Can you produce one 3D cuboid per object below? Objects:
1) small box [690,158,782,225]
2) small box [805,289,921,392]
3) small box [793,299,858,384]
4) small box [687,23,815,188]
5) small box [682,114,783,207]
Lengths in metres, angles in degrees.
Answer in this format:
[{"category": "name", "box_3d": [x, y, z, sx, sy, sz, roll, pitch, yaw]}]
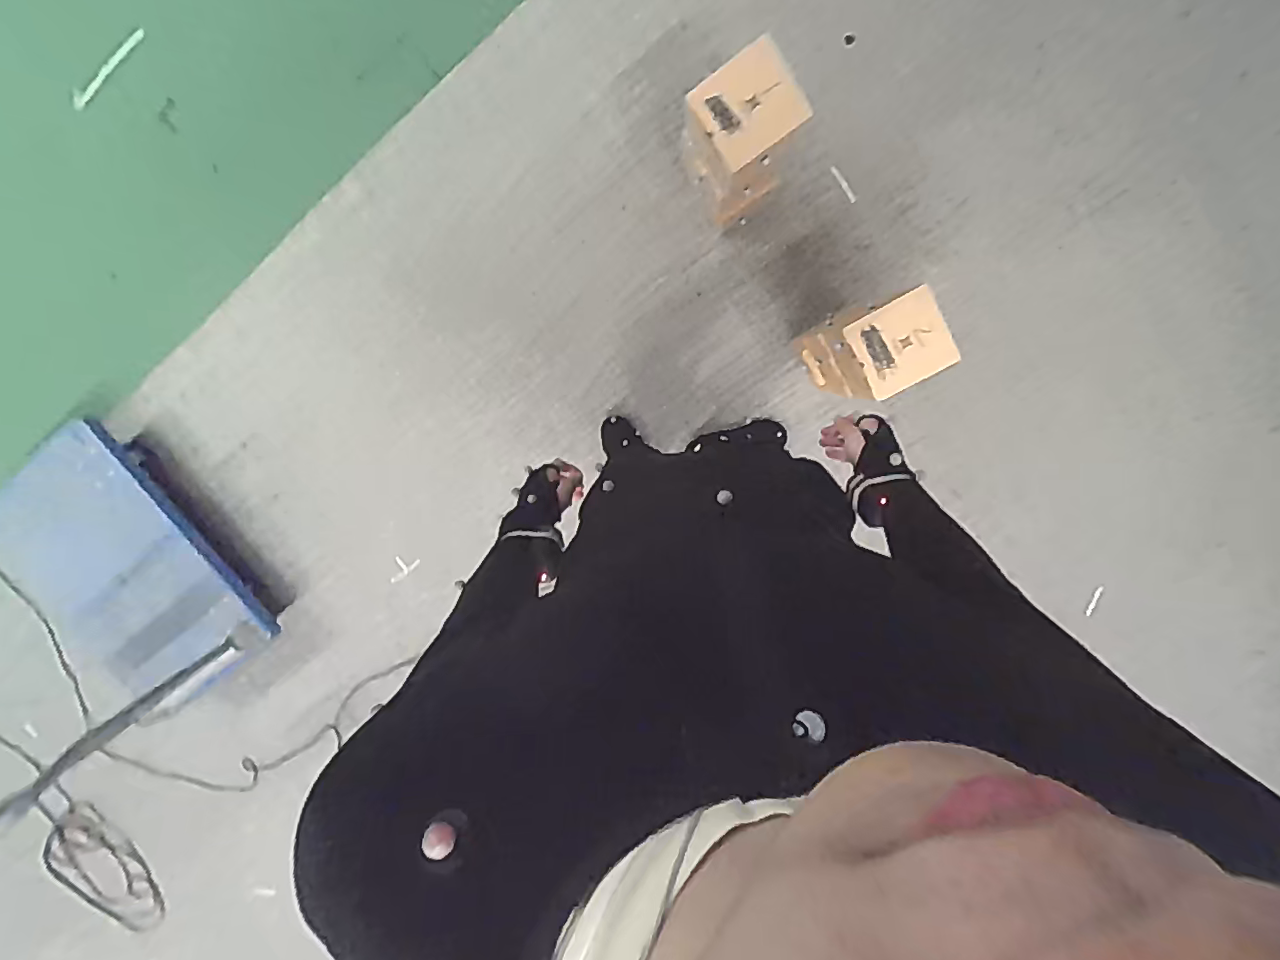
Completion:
[{"category": "small box", "box_3d": [0.234, -0.783, 1.369, 0.168, 0.176, 0.179, -30, 99, 12]}, {"category": "small box", "box_3d": [0.517, -0.327, 1.277, 0.179, 0.176, 0.168, -29, 99, 11]}, {"category": "small box", "box_3d": [0.525, -0.367, 1.432, 0.179, 0.176, 0.168, -23, 97, 11]}, {"category": "small box", "box_3d": [0.209, -0.709, 1.051, 0.179, 0.176, 0.168, -31, 98, 11]}, {"category": "small box", "box_3d": [0.213, -0.749, 1.211, 0.179, 0.176, 0.168, -30, 98, 12]}]
